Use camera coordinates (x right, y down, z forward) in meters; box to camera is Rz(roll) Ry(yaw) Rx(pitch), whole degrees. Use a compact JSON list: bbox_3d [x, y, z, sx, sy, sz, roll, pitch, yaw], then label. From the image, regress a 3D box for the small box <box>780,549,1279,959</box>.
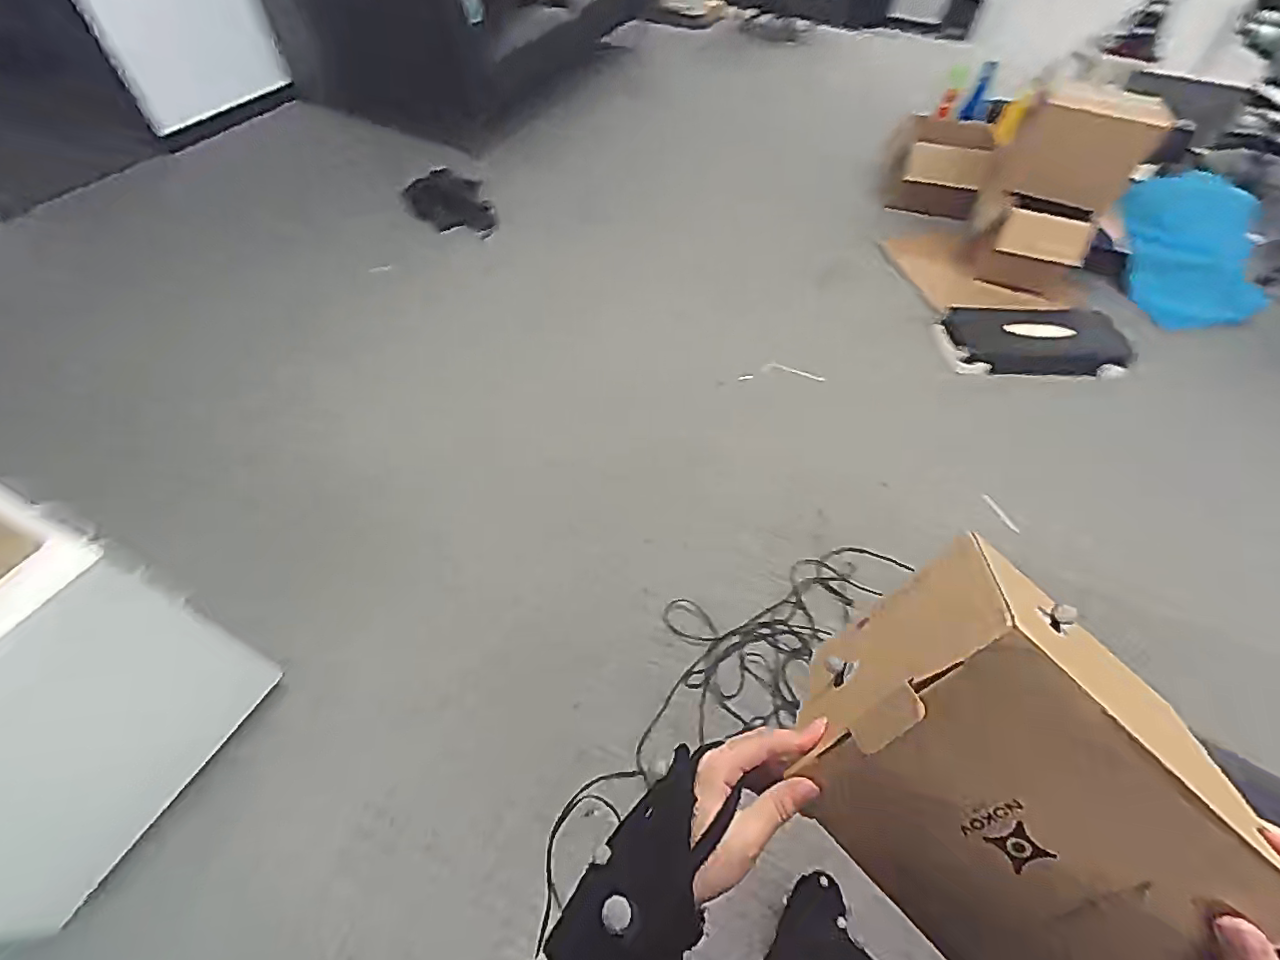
[{"bbox_3d":[0.221,0.165,0.349,0.179,0.168,0.176,42,26,9],"label":"small box"}]
